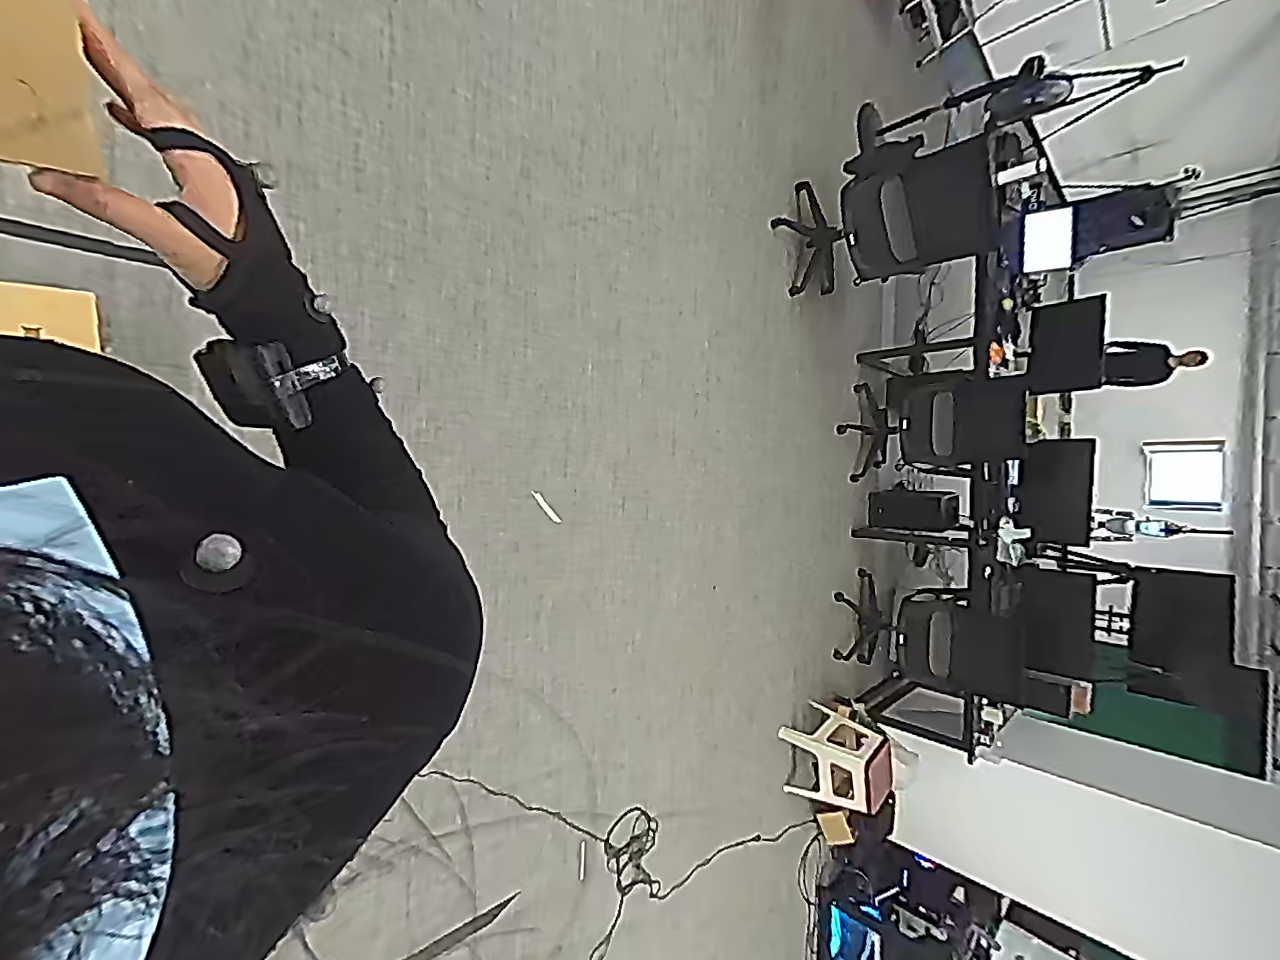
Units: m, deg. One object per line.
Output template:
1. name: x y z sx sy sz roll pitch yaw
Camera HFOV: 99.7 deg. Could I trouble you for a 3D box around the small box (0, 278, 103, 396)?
1. small box: -1.085 -0.248 0.965 0.168 0.176 0.179 -6 96 -45
